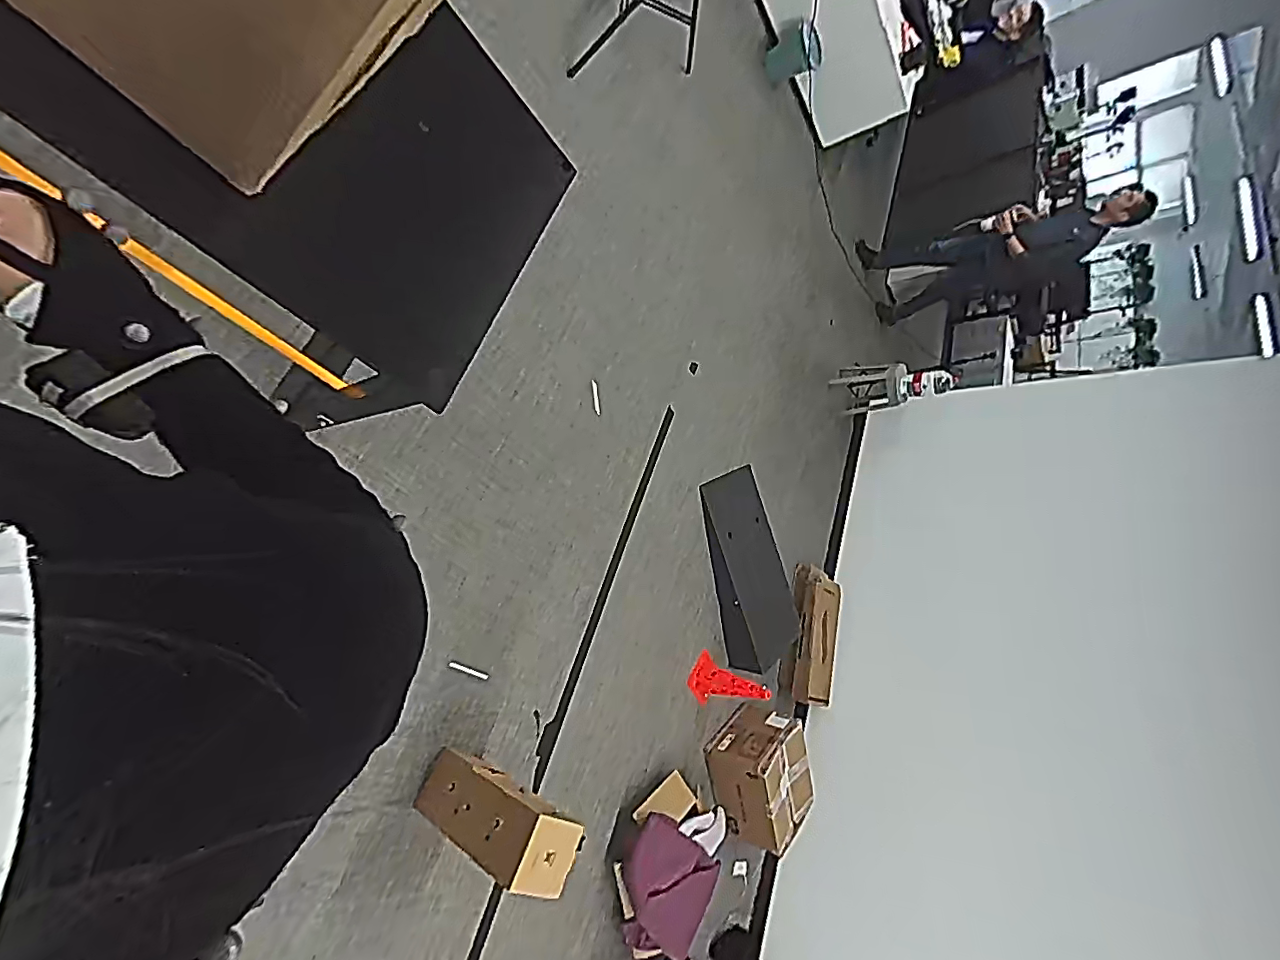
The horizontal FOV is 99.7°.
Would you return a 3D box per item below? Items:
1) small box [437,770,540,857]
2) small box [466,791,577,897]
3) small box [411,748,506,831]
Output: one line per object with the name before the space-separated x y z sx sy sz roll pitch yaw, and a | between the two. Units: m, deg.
small box | -0.413 0.922 1.481 0.179 0.176 0.168 45 57 -38
small box | -0.299 0.913 1.365 0.179 0.176 0.168 45 57 -37
small box | -0.537 0.915 1.589 0.168 0.176 0.179 45 58 -38
